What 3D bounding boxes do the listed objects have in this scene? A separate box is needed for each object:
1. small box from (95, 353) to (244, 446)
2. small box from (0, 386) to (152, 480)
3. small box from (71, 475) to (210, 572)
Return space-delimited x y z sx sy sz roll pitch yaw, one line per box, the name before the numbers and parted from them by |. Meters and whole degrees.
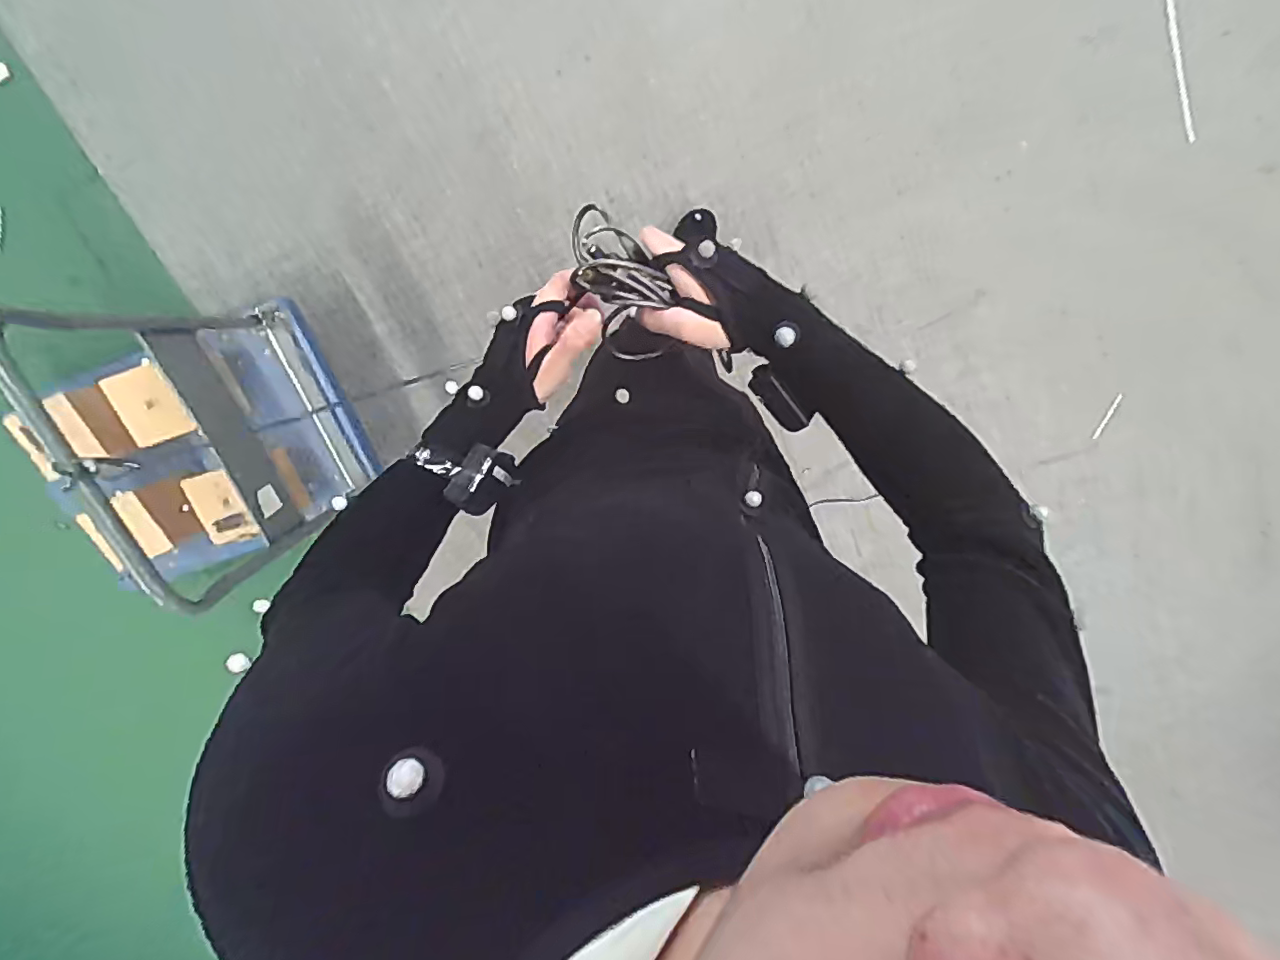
small box | -1.117 -0.197 1.300 0.179 0.176 0.168 -18 107 5
small box | -1.362 -0.123 1.322 0.179 0.176 0.168 -20 108 5
small box | -1.271 0.105 1.398 0.179 0.176 0.168 -22 106 7
